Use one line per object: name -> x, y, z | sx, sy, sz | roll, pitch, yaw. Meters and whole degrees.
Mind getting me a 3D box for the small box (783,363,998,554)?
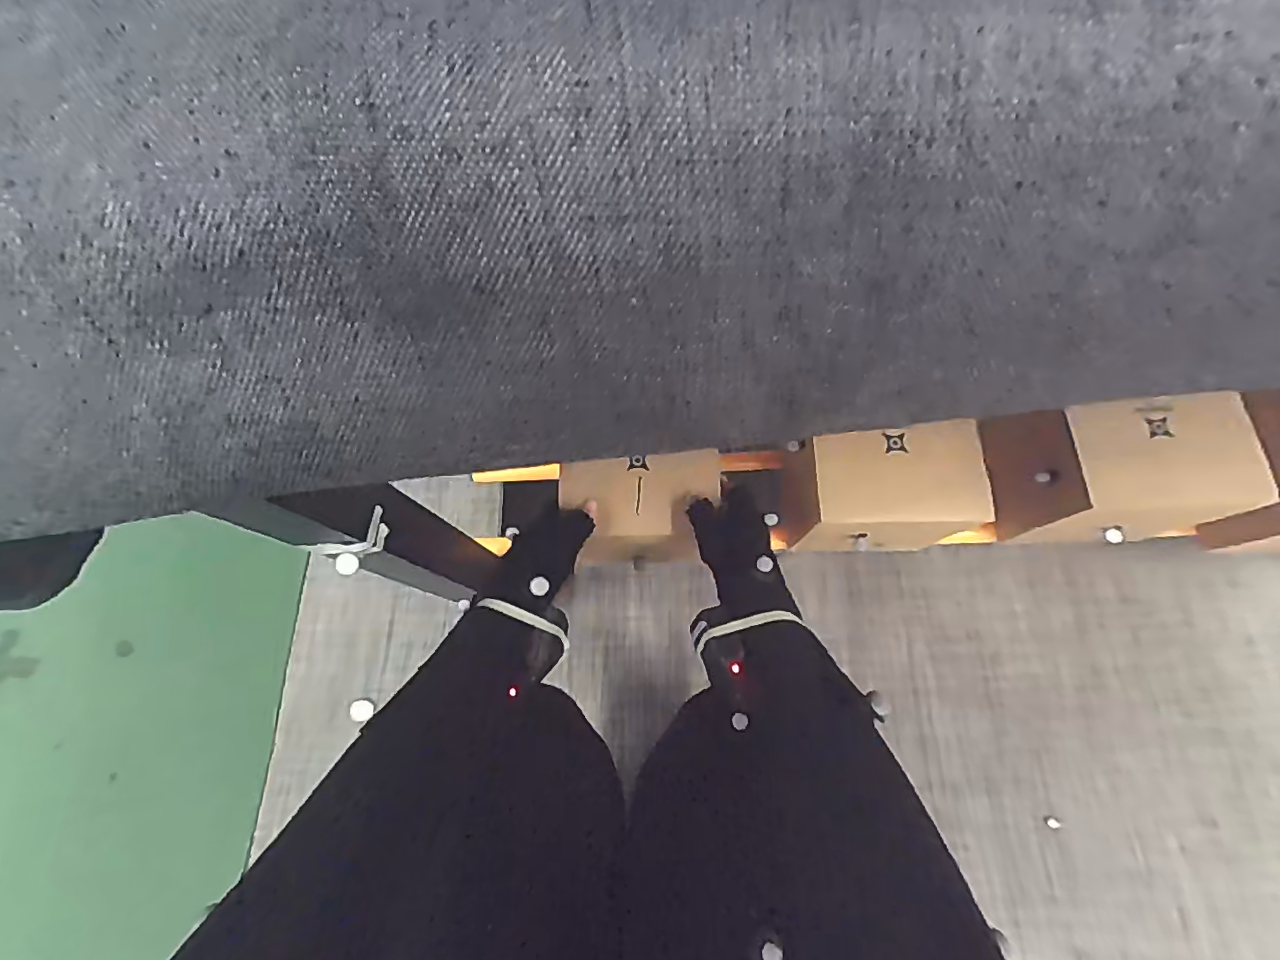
small box -> 0.265, -0.012, 0.620 | 0.168, 0.176, 0.179 | -2, 70, 4
